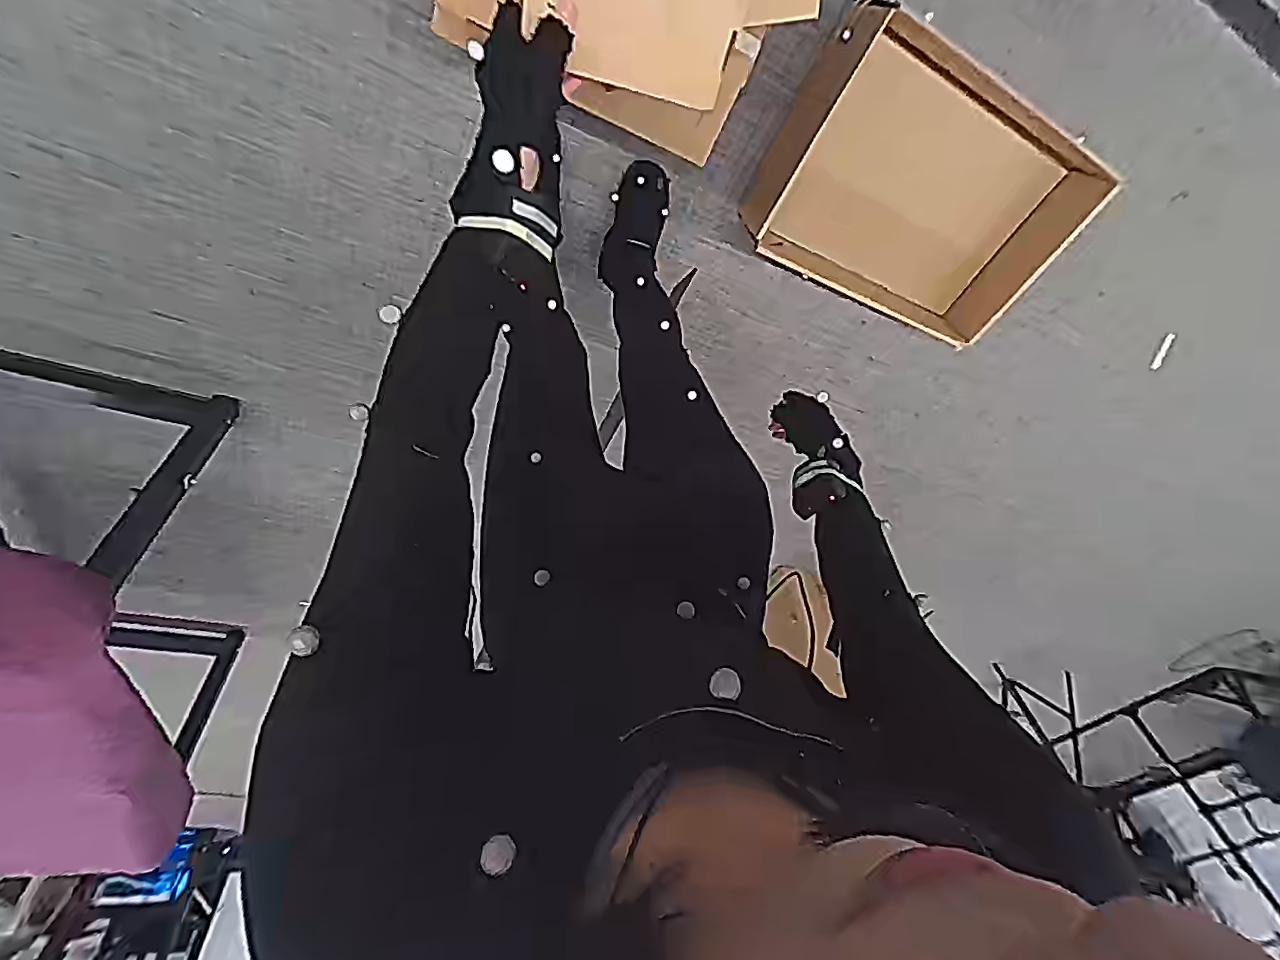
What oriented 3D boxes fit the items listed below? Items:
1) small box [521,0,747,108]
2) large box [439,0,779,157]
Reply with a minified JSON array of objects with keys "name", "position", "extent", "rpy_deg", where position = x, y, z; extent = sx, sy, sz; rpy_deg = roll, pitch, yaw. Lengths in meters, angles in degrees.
[{"name":"small box","position":[-0.004,-0.454,0.470],"extent":[0.179,0.176,0.168],"rpy_deg":[6,131,-14]},{"name":"large box","position":[-0.037,-0.735,0.766],"extent":[0.408,0.320,0.320],"rpy_deg":[13,131,-21]}]
